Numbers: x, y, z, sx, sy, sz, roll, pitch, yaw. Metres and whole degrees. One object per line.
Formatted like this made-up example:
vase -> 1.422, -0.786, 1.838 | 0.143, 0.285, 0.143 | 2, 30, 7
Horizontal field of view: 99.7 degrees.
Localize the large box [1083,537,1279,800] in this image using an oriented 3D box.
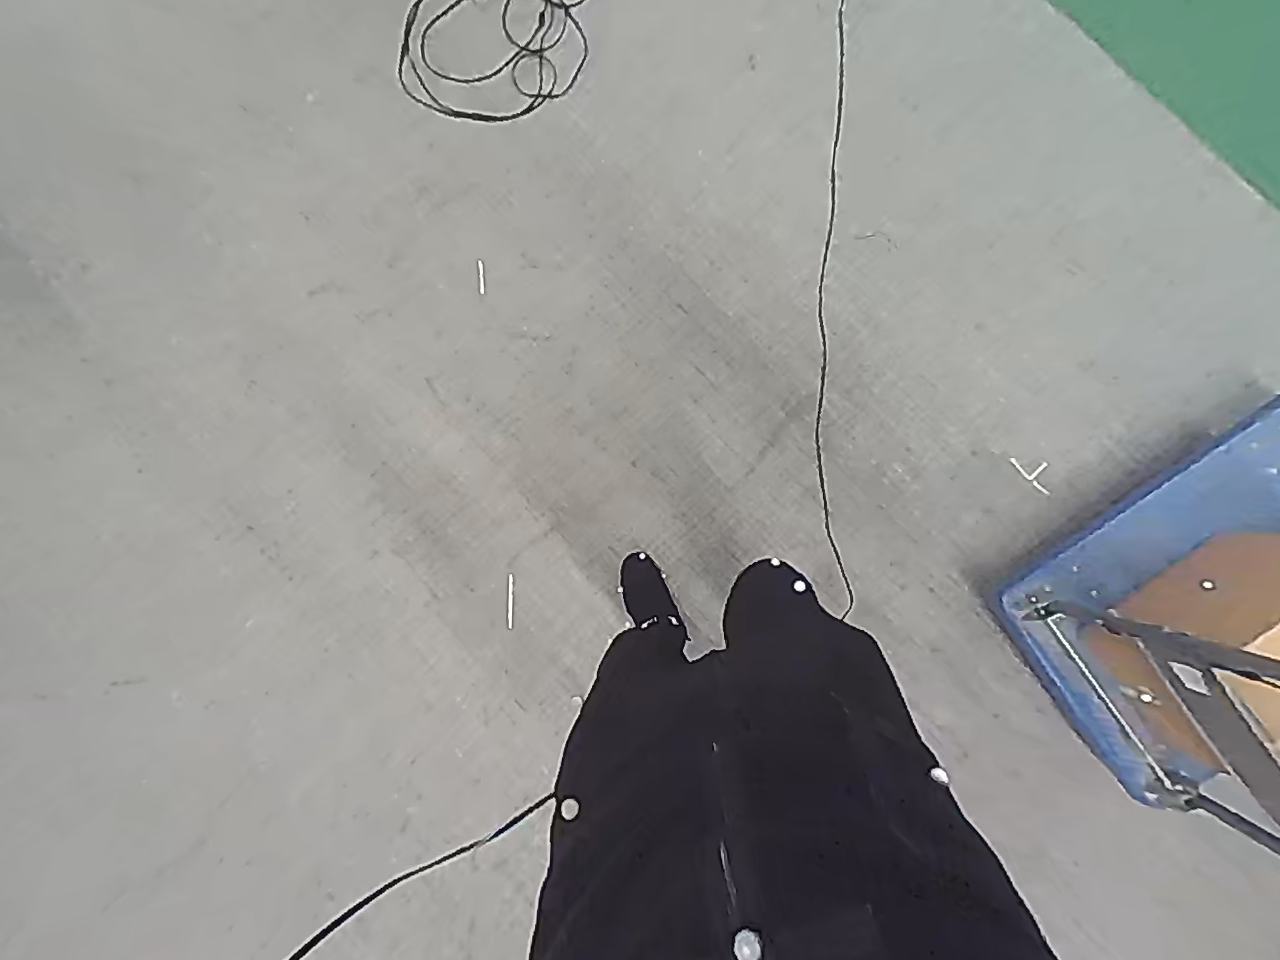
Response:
large box -> 1.223, 0.348, 1.053 | 0.408, 0.320, 0.320 | -35, 86, -1
